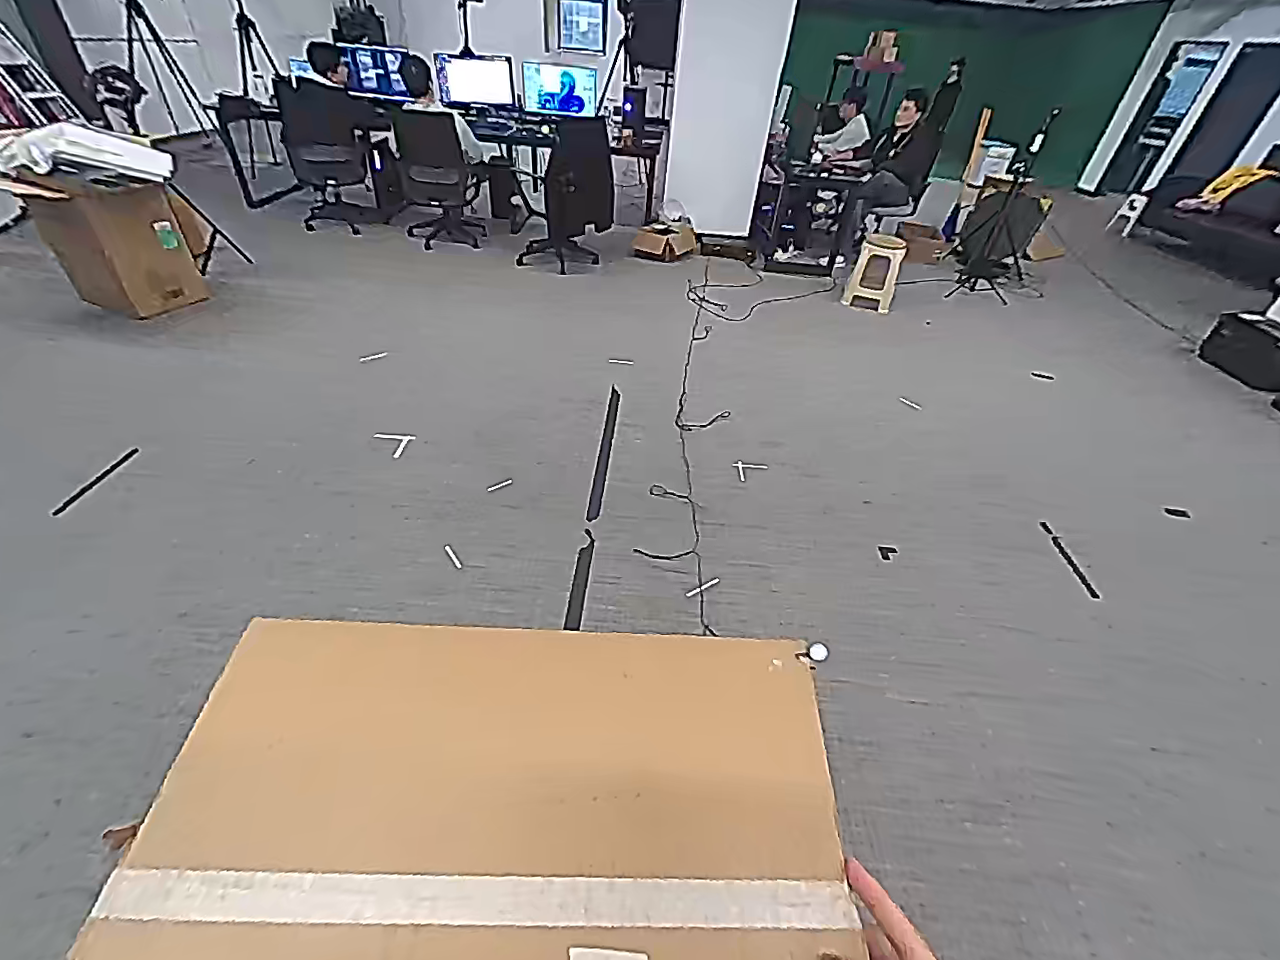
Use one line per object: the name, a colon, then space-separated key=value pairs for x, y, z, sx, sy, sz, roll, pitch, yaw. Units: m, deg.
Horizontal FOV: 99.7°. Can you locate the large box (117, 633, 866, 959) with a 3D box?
large box: x=-0.083 y=0.335 z=0.418 sx=0.408 sy=0.320 sz=0.320 roll=4 pitch=51 yaw=-3
